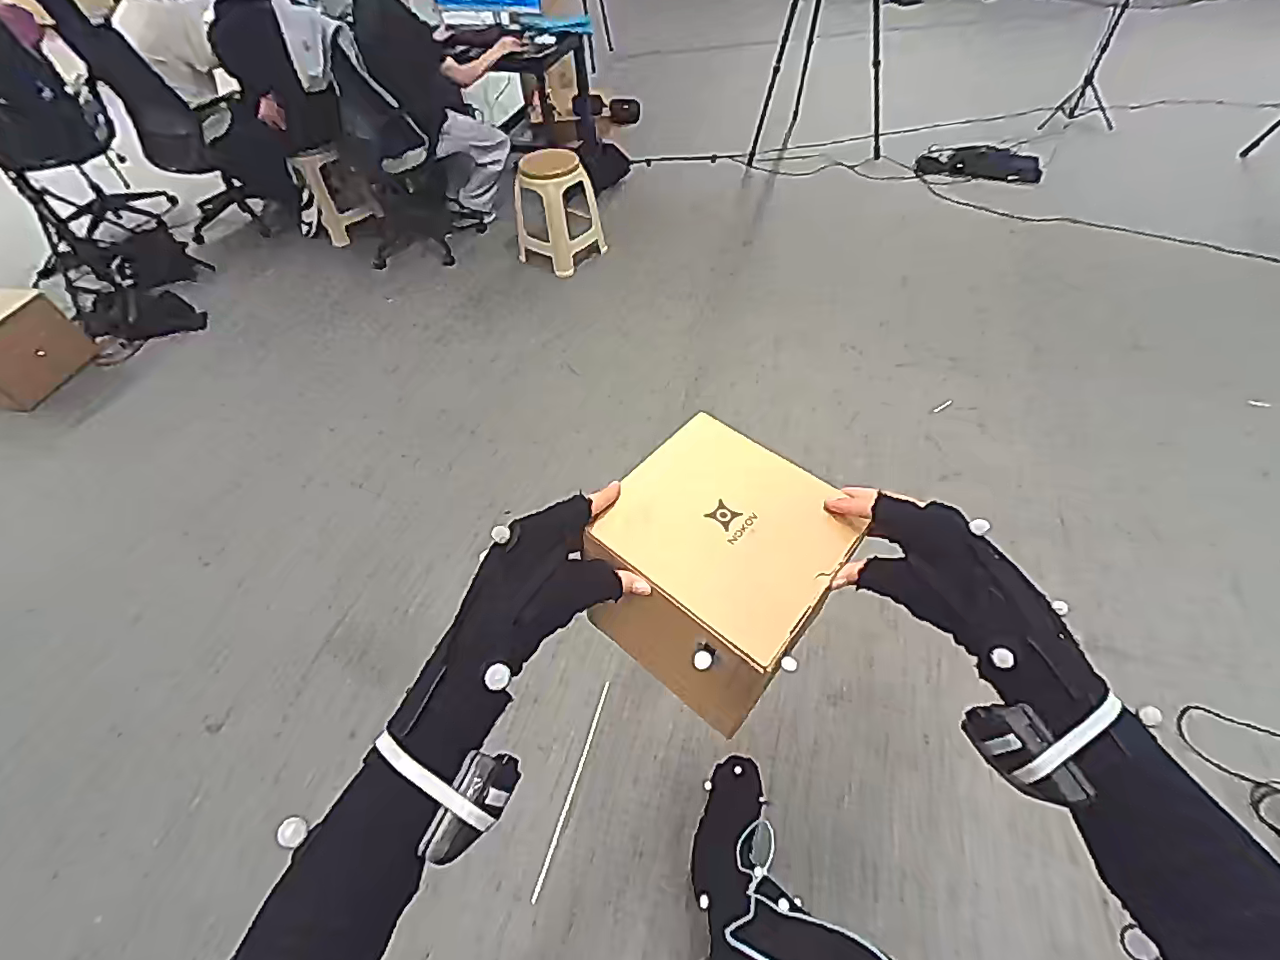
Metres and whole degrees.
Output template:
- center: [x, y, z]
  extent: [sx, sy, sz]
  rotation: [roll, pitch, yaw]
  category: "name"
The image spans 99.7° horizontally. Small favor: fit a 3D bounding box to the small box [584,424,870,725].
- center: [0.065, 0.087, 0.493]
  extent: [0.179, 0.176, 0.168]
  rotation: [36, 57, 23]
  category: "small box"
